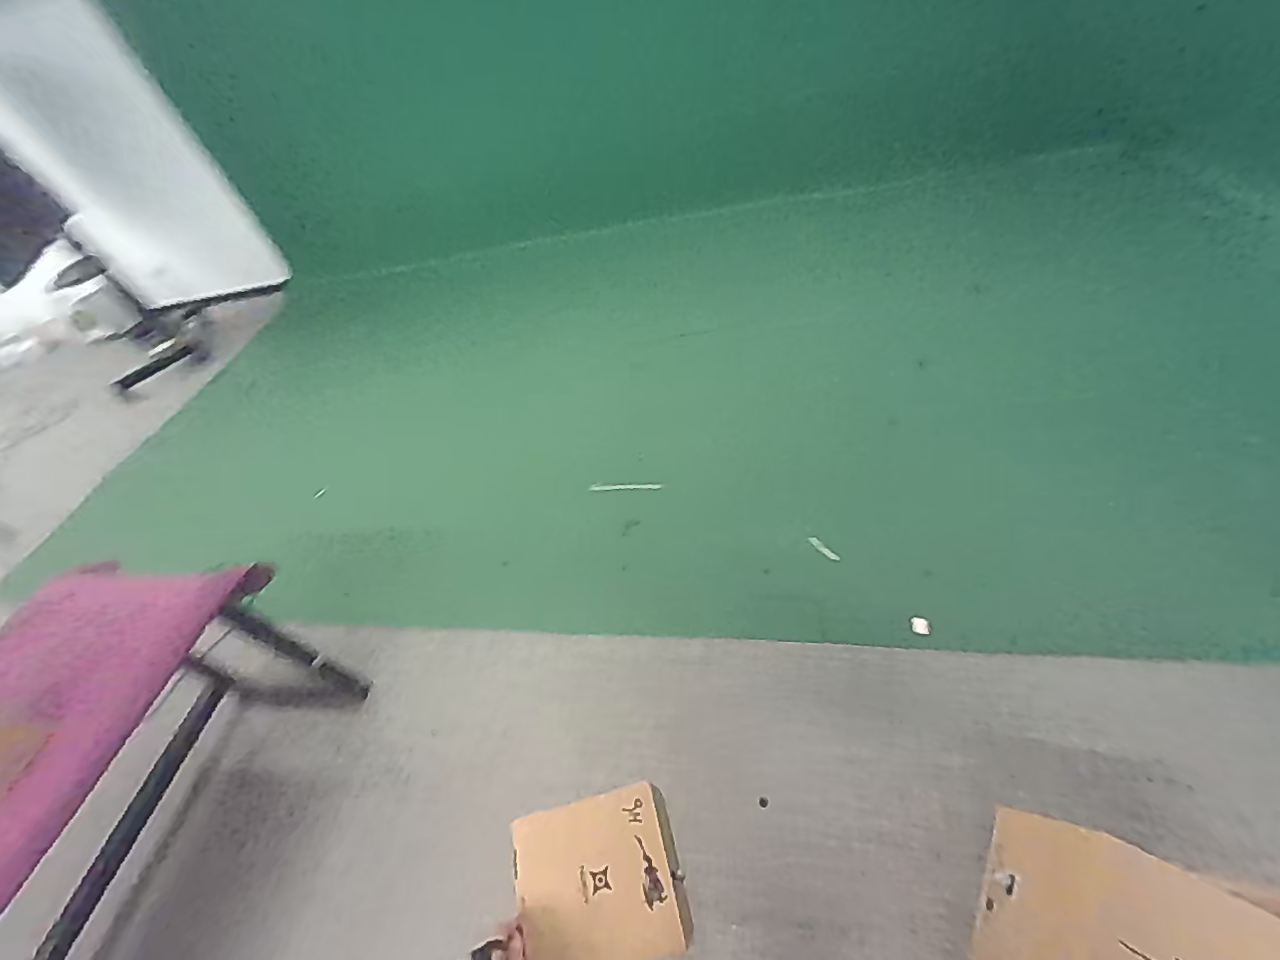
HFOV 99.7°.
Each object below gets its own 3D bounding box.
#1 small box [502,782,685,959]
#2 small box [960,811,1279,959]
[{"bbox_3d":[-0.053,0.496,0.669,0.179,0.176,0.168,-16,54,-1],"label":"small box"},{"bbox_3d":[0.458,0.453,0.529,0.179,0.176,0.168,23,68,11],"label":"small box"}]
